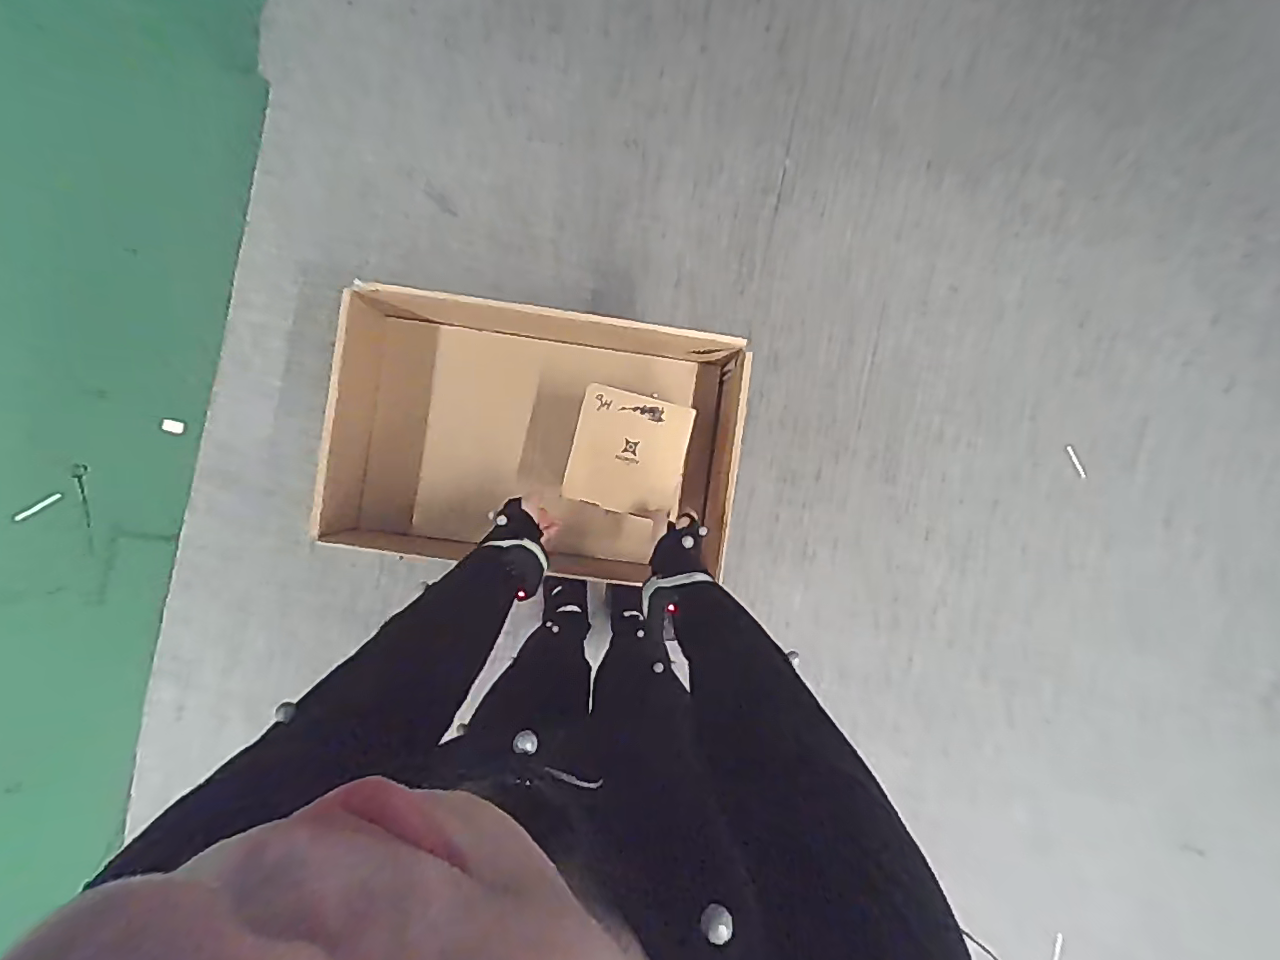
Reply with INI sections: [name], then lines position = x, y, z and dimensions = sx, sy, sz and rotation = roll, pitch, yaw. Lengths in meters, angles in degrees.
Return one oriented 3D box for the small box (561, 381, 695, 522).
[small box]
position = -0.022, -0.044, 0.872
dimensions = 0.168, 0.176, 0.179
rotation = 14, 91, -5
